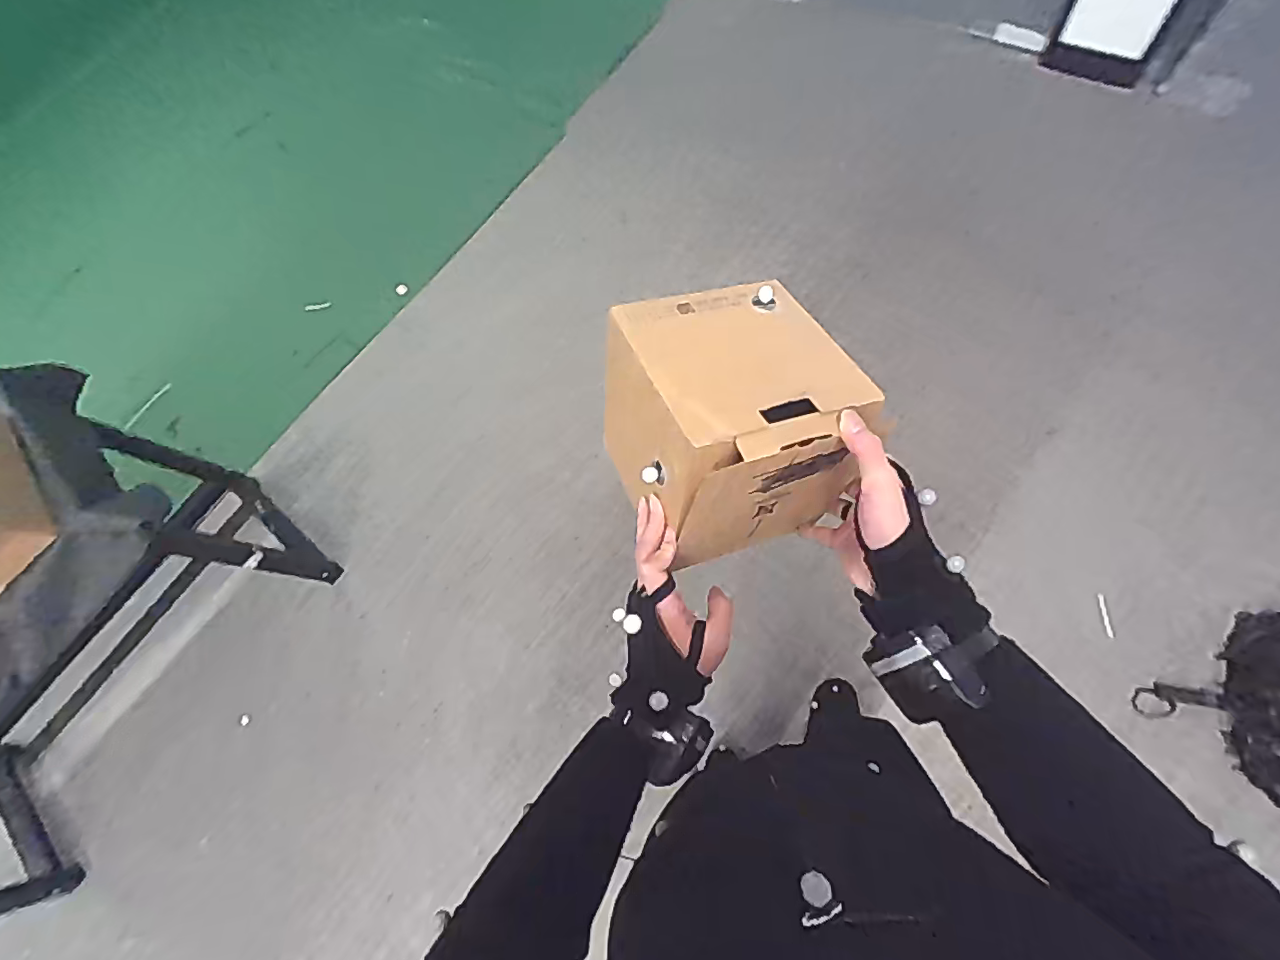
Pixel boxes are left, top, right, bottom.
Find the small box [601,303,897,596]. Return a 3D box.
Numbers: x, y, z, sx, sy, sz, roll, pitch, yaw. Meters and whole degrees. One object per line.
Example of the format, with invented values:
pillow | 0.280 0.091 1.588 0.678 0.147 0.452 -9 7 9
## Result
small box | 0.070 -0.033 0.466 0.168 0.179 0.176 -15 57 -17
